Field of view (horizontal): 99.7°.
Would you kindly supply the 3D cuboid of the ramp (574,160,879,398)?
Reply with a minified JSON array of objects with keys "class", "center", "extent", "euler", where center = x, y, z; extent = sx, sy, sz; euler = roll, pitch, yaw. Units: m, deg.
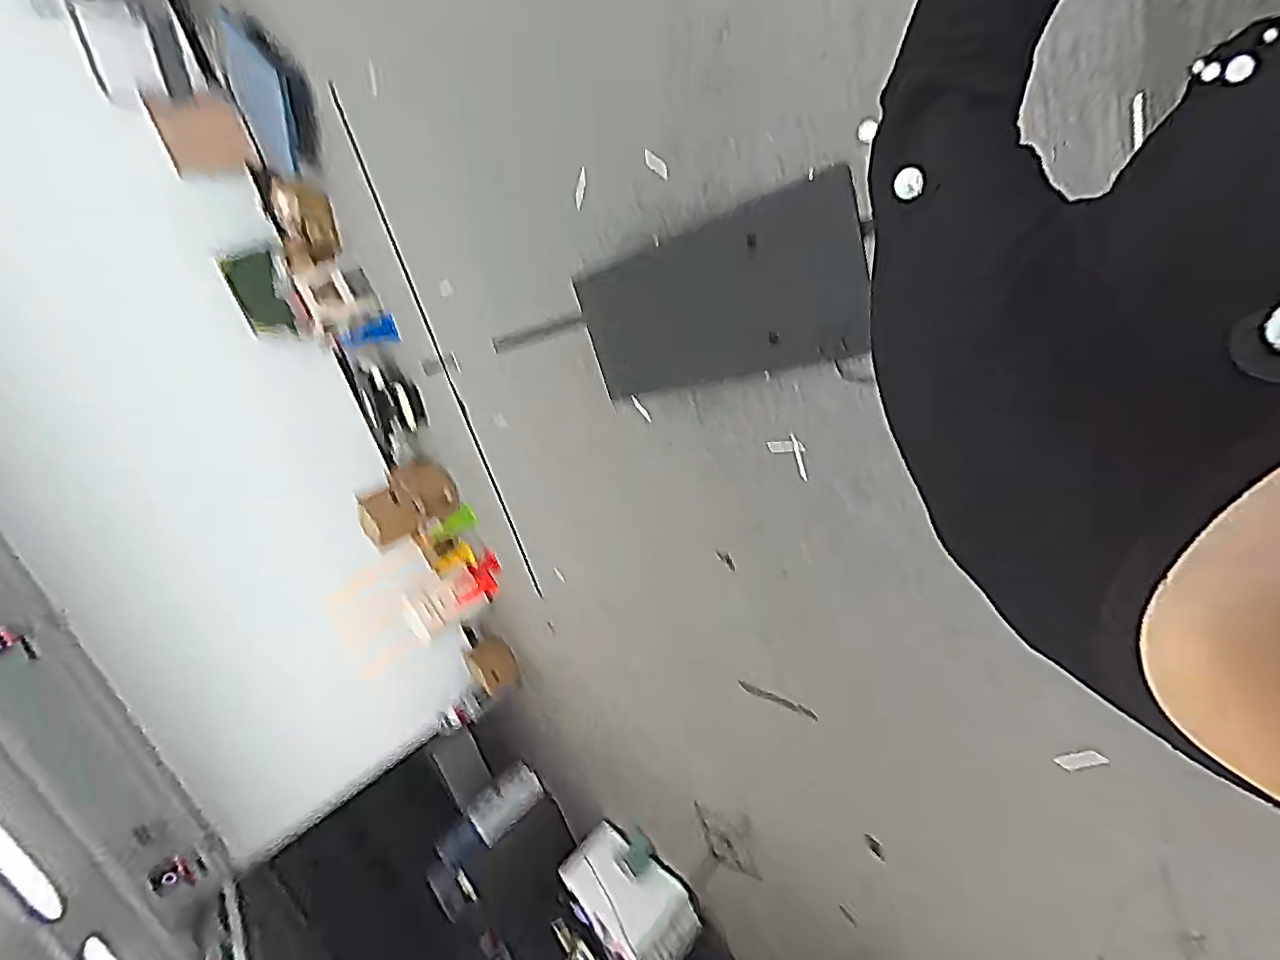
[{"class":"ramp","center":[0.211,-0.570,1.742],"extent":[0.991,0.206,0.509],"euler":[0,113,49]}]
